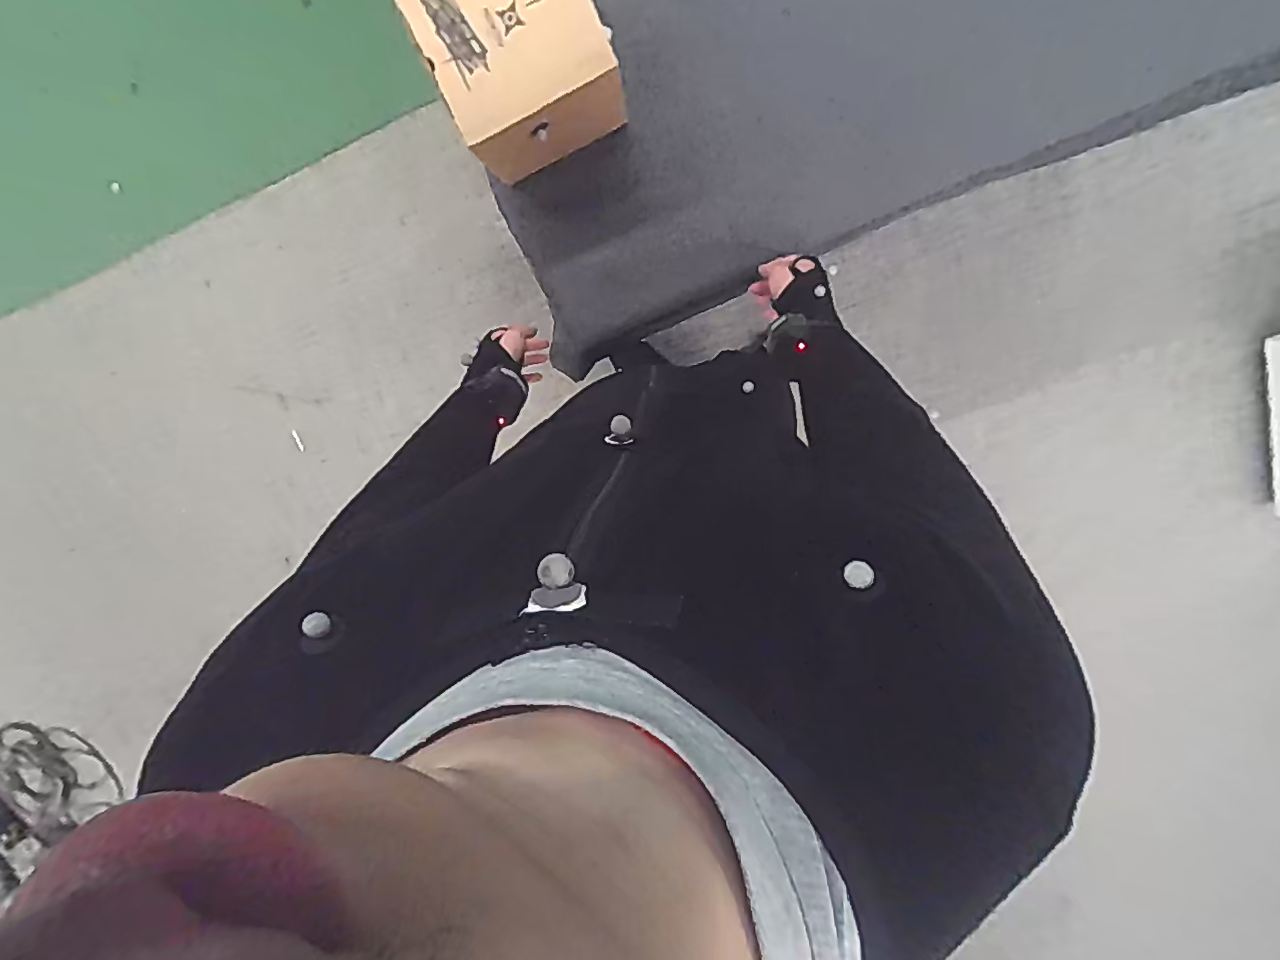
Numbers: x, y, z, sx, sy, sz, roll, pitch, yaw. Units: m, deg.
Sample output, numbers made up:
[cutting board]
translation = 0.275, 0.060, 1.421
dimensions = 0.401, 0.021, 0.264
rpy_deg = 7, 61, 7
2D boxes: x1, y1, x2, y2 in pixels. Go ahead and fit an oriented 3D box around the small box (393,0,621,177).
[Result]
[small box]
translation = -0.130, -0.459, 0.580
dimensions = 0.179, 0.176, 0.168
rpy_deg = -25, 105, 6
